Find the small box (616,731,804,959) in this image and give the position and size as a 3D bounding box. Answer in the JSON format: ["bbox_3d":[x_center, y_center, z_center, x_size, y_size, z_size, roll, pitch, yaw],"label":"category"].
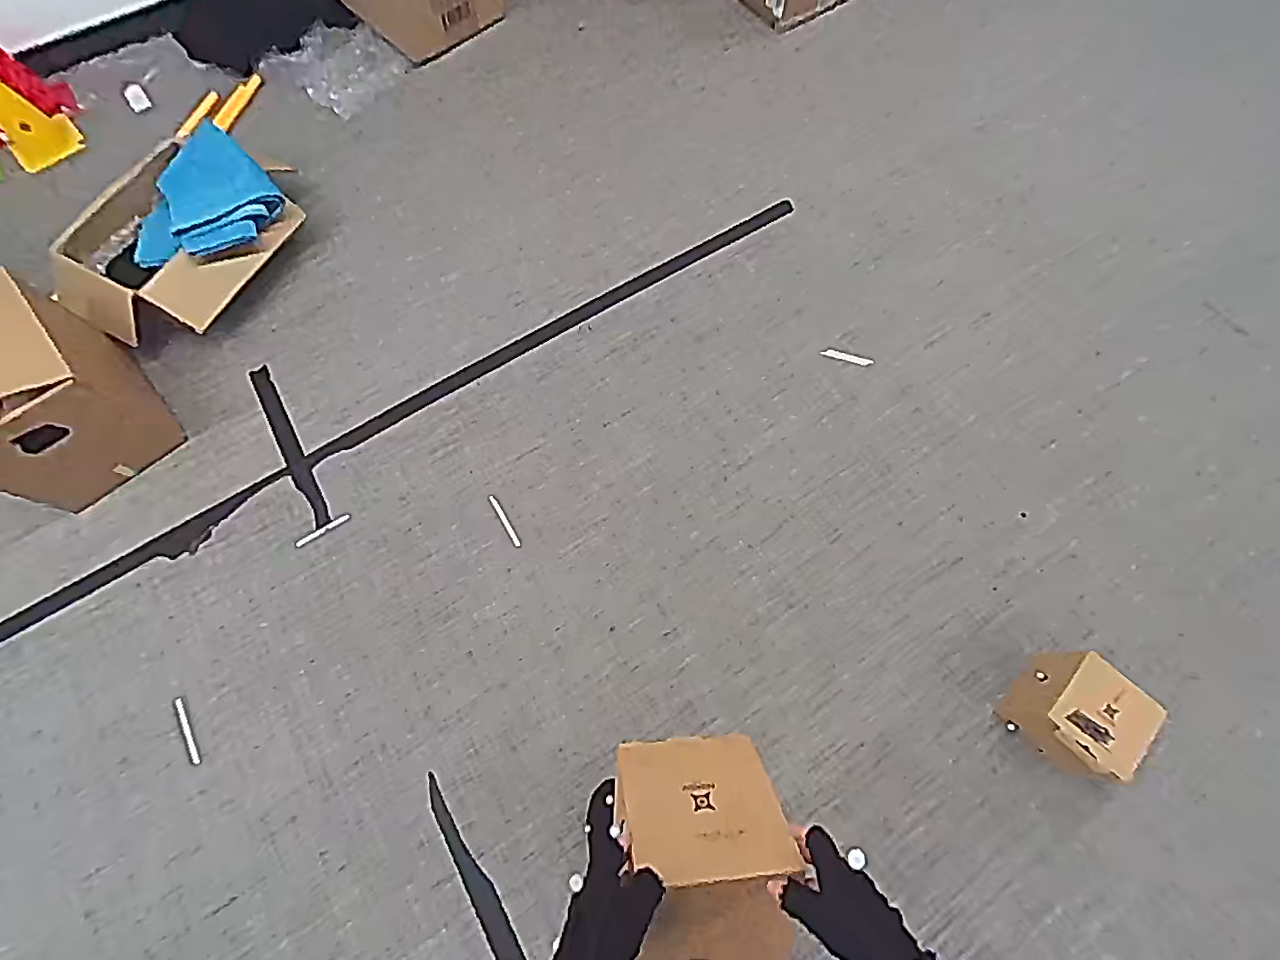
[{"bbox_3d":[0.063,0.417,0.611,0.168,0.179,0.176,0,108,-9],"label":"small box"}]

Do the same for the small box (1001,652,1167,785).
[{"bbox_3d":[0.883,0.477,1.098,0.179,0.176,0.168,-42,74,-14],"label":"small box"}]
